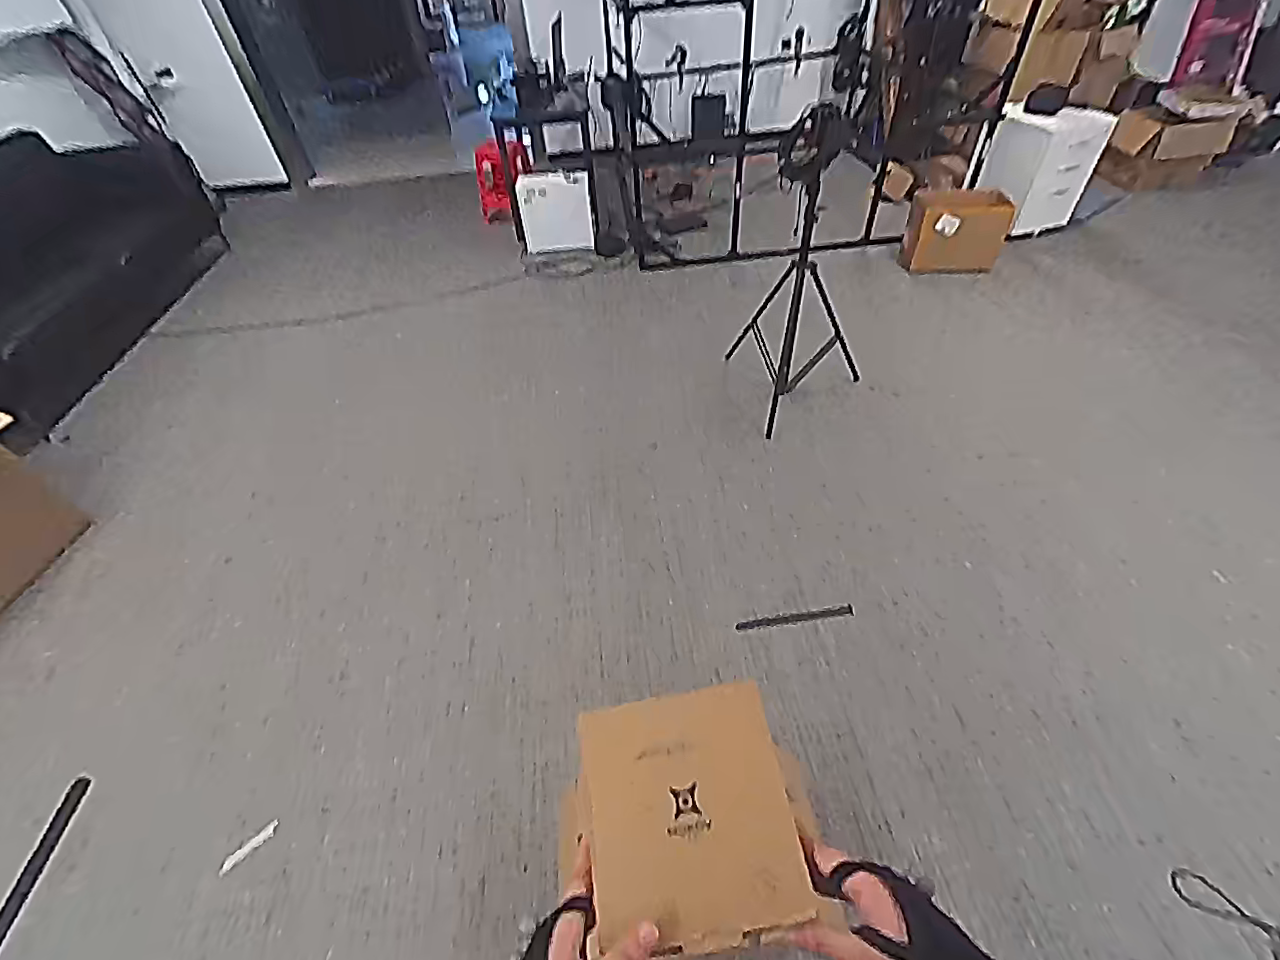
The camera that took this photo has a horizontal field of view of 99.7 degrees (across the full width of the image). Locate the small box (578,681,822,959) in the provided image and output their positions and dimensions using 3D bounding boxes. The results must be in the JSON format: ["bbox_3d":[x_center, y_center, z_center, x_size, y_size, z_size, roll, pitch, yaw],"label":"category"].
[{"bbox_3d":[0.044,0.306,0.497,0.168,0.176,0.179,-10,56,-3],"label":"small box"}]
